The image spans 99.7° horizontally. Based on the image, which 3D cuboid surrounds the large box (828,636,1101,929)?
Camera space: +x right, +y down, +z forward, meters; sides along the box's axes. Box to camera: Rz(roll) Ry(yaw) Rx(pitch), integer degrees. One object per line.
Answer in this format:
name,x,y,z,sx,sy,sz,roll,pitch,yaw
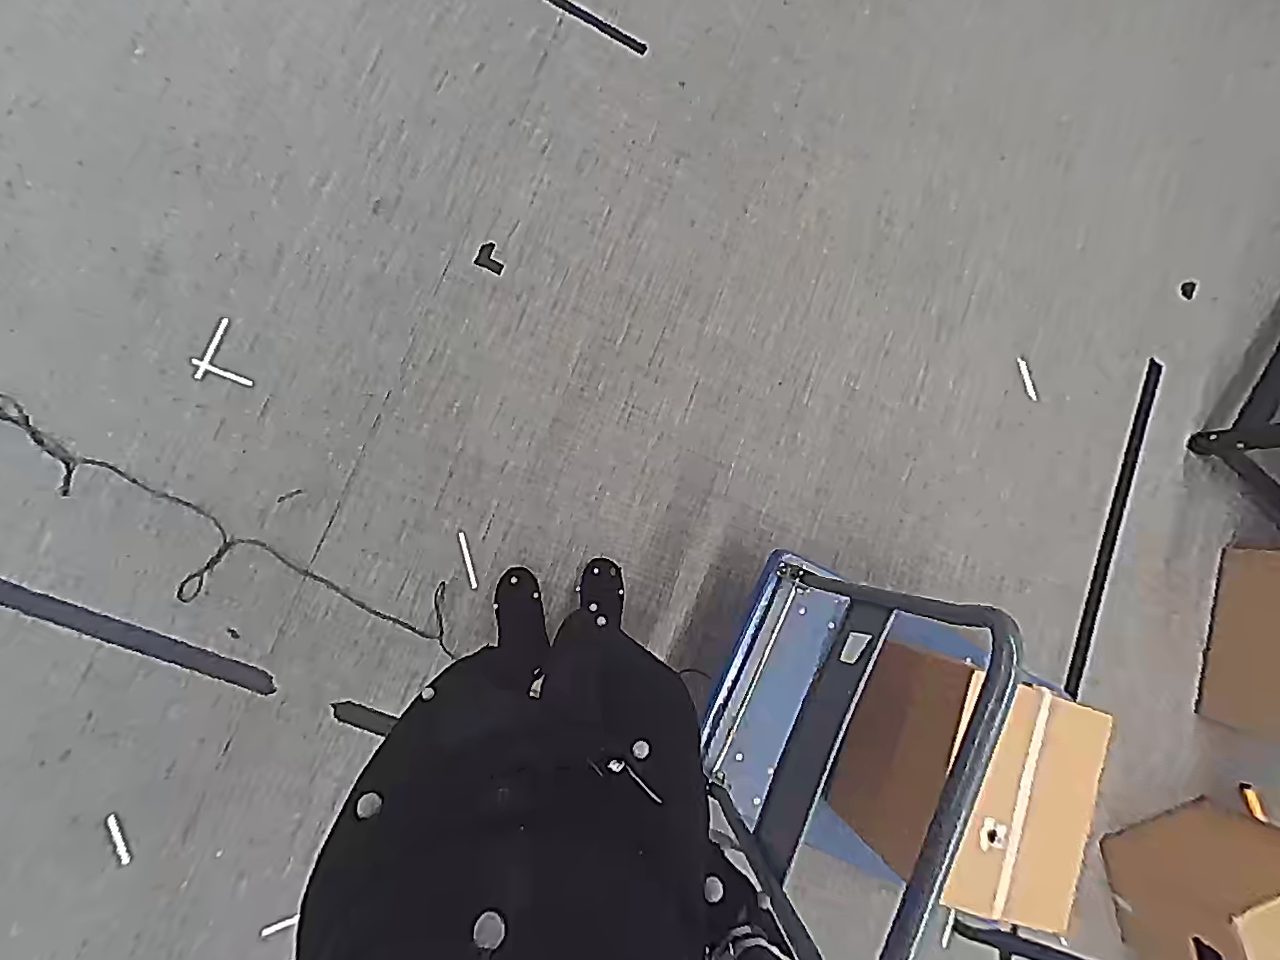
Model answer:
large box,0.649,0.589,1.126,0.320,0.320,0.408,20,83,-7
